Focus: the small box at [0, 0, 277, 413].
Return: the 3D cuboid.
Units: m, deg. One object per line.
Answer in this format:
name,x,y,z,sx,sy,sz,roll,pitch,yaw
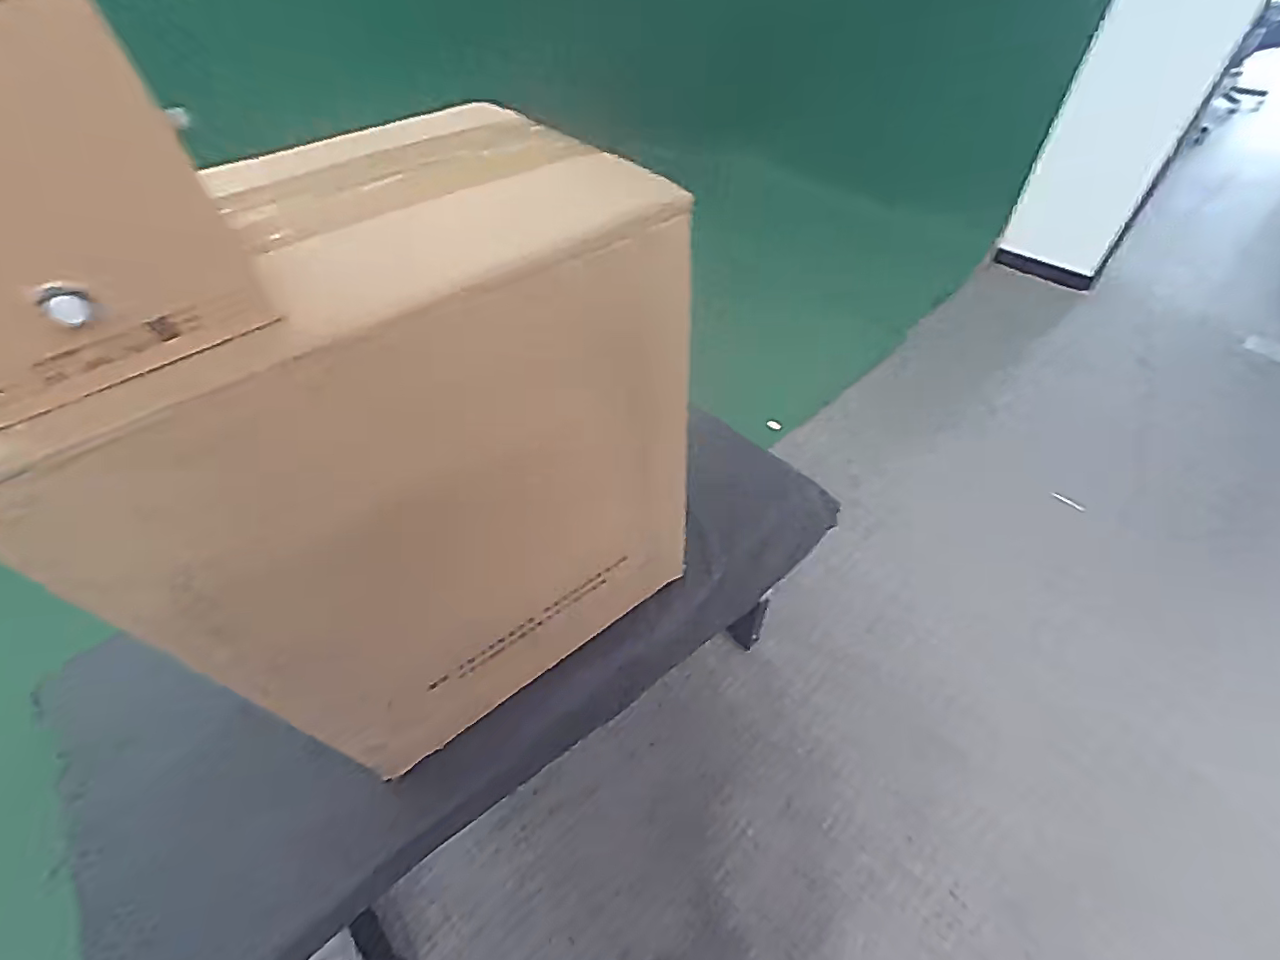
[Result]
small box,-0.334,-0.166,0.280,0.168,0.176,0.179,-32,59,-20
